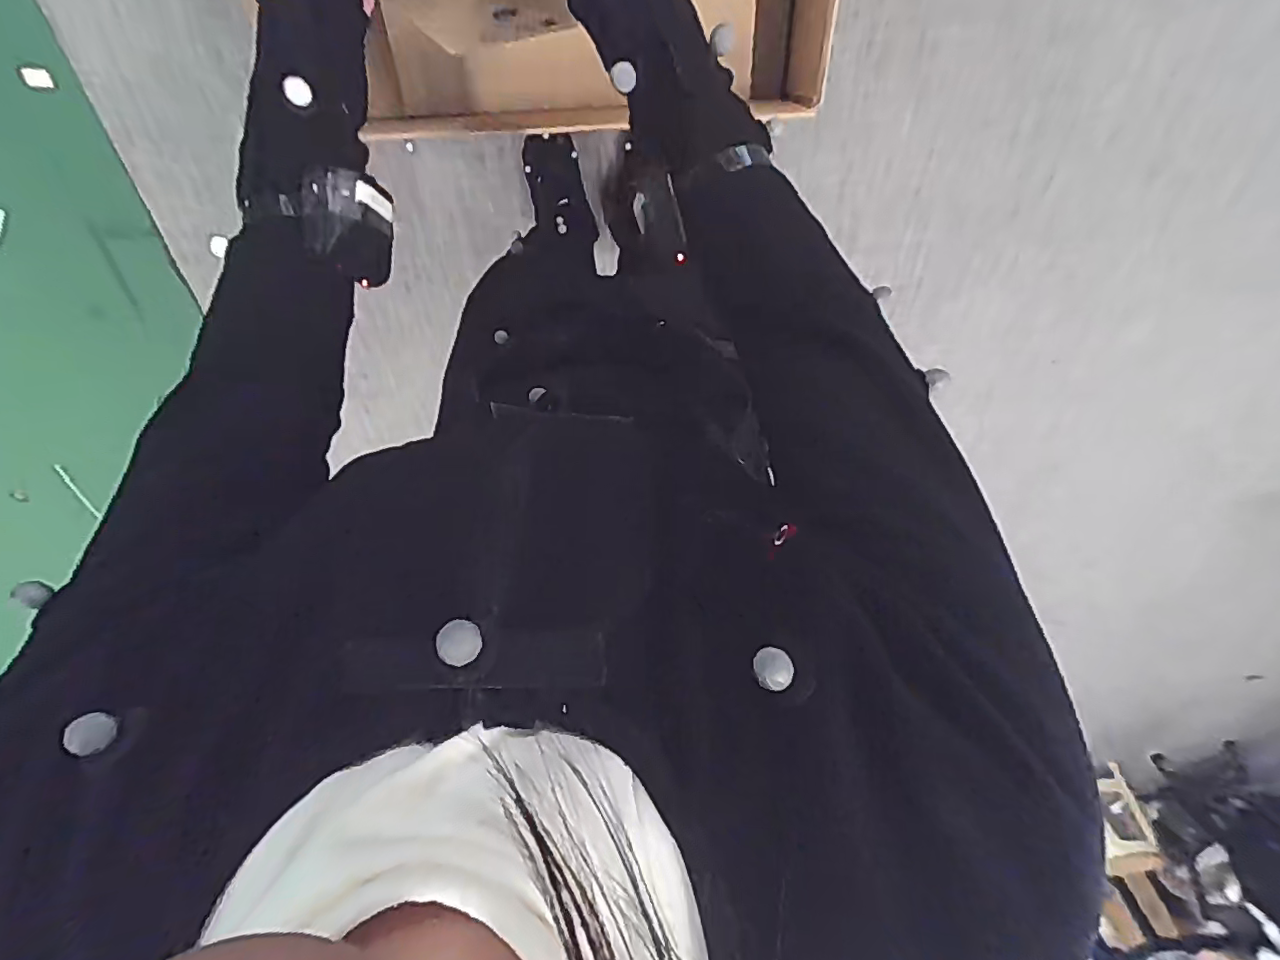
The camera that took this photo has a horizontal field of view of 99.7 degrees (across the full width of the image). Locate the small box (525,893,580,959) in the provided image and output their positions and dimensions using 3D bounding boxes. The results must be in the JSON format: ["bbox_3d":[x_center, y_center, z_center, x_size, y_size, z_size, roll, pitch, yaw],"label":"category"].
[{"bbox_3d":[-0.307,1.604,1.934,0.168,0.176,0.179,-5,128,0],"label":"small box"}]

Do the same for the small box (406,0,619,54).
[{"bbox_3d":[-0.118,-0.452,0.384,0.168,0.176,0.179,-2,108,12],"label":"small box"}]
